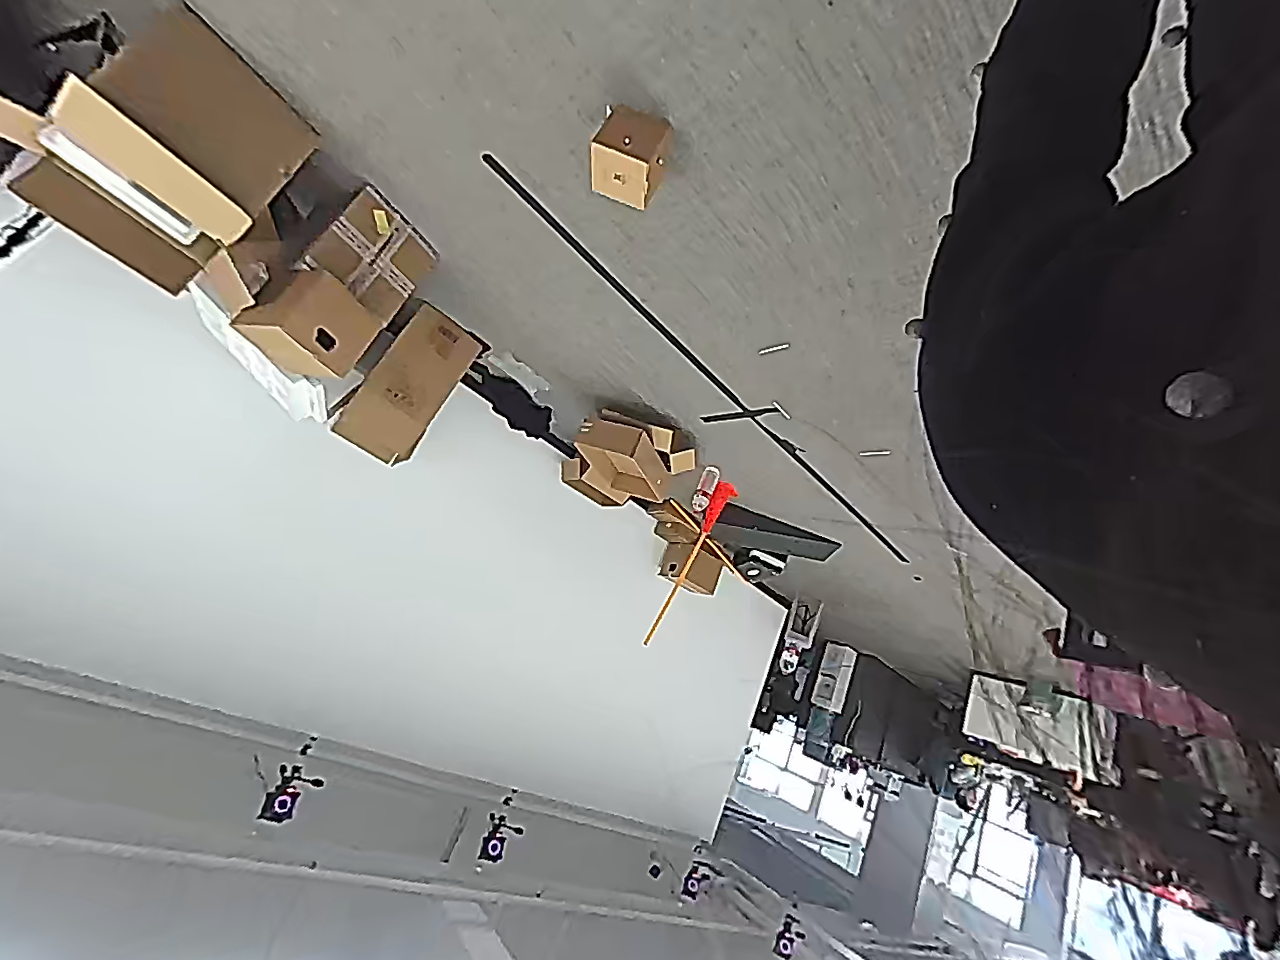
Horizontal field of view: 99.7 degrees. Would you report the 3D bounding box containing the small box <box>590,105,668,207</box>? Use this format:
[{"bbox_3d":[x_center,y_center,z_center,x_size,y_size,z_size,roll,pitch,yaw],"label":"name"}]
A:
[{"bbox_3d":[-0.031,-0.946,1.577,0.179,0.176,0.168,24,161,5],"label":"small box"}]
